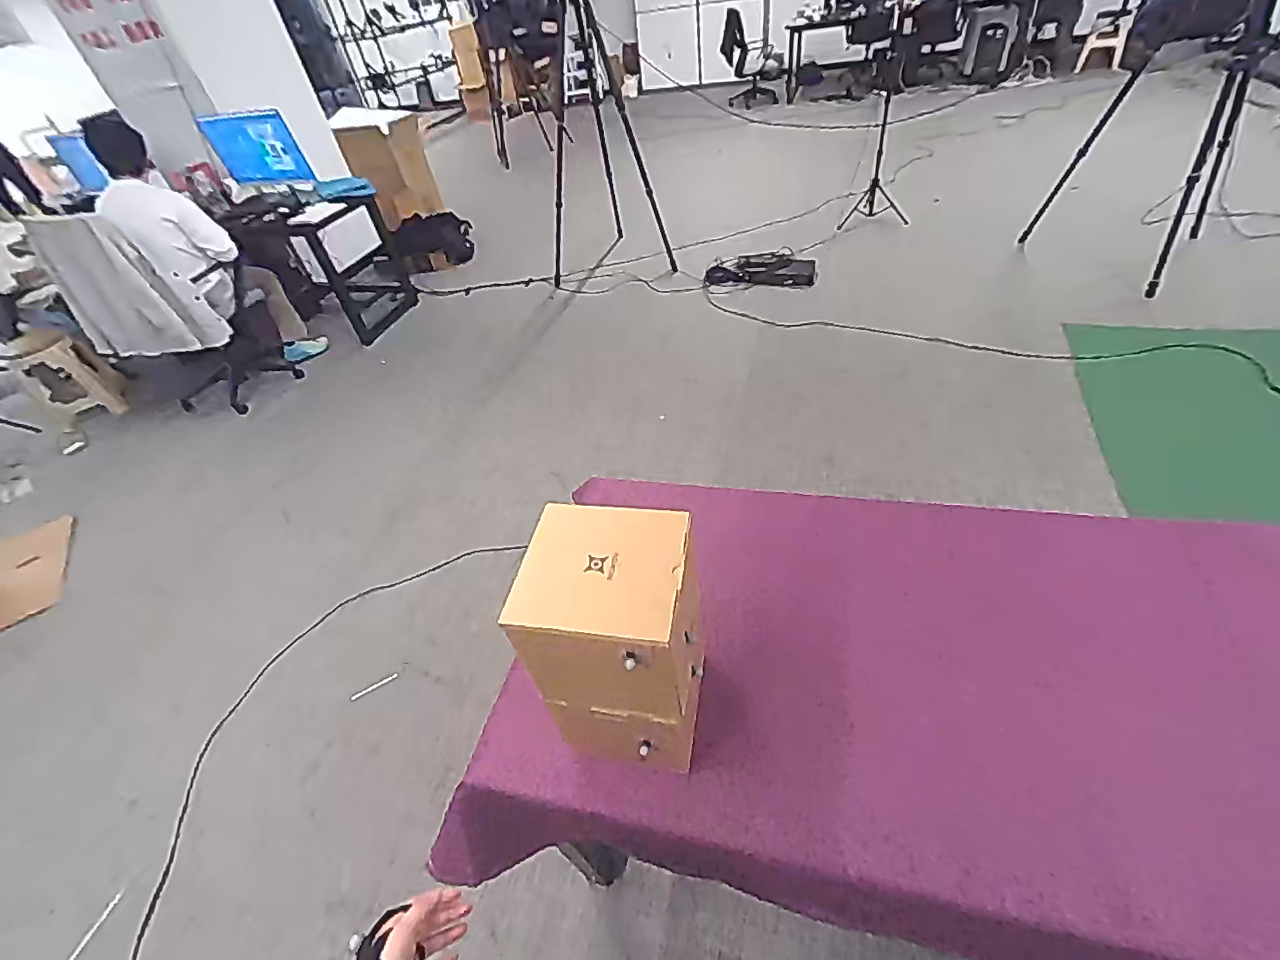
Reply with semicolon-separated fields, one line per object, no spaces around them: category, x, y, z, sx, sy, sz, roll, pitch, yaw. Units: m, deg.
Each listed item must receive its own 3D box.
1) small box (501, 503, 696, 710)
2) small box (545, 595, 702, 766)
small box;-0.032;0.147;0.627;0.179;0.176;0.168;4;45;11
small box;-0.008;0.264;0.738;0.168;0.176;0.179;4;45;13
